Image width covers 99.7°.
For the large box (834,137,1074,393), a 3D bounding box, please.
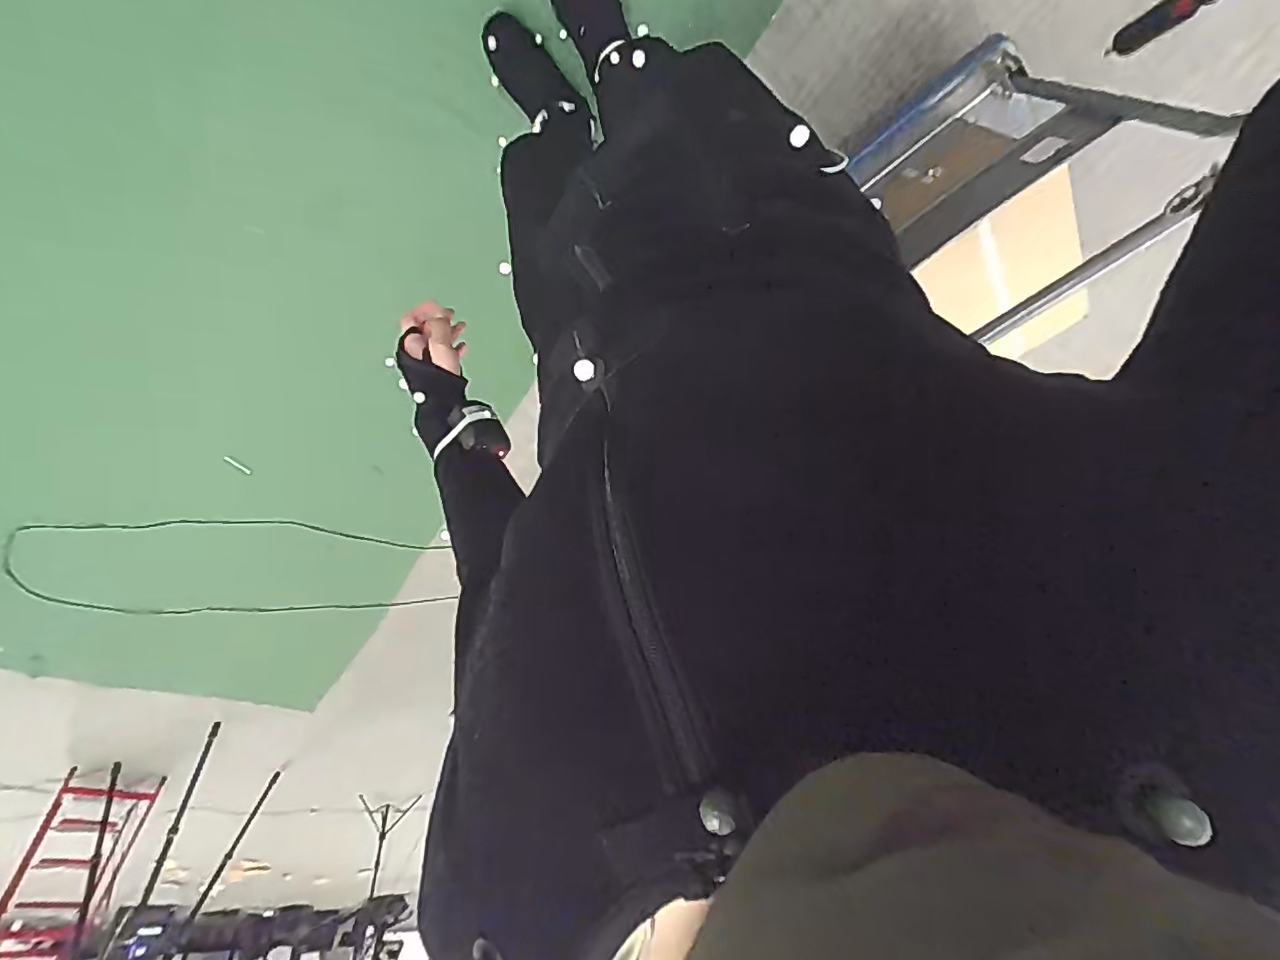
[{"bbox_3d":[0.724,-0.493,1.267,0.320,0.320,0.408,-33,130,21],"label":"large box"}]
